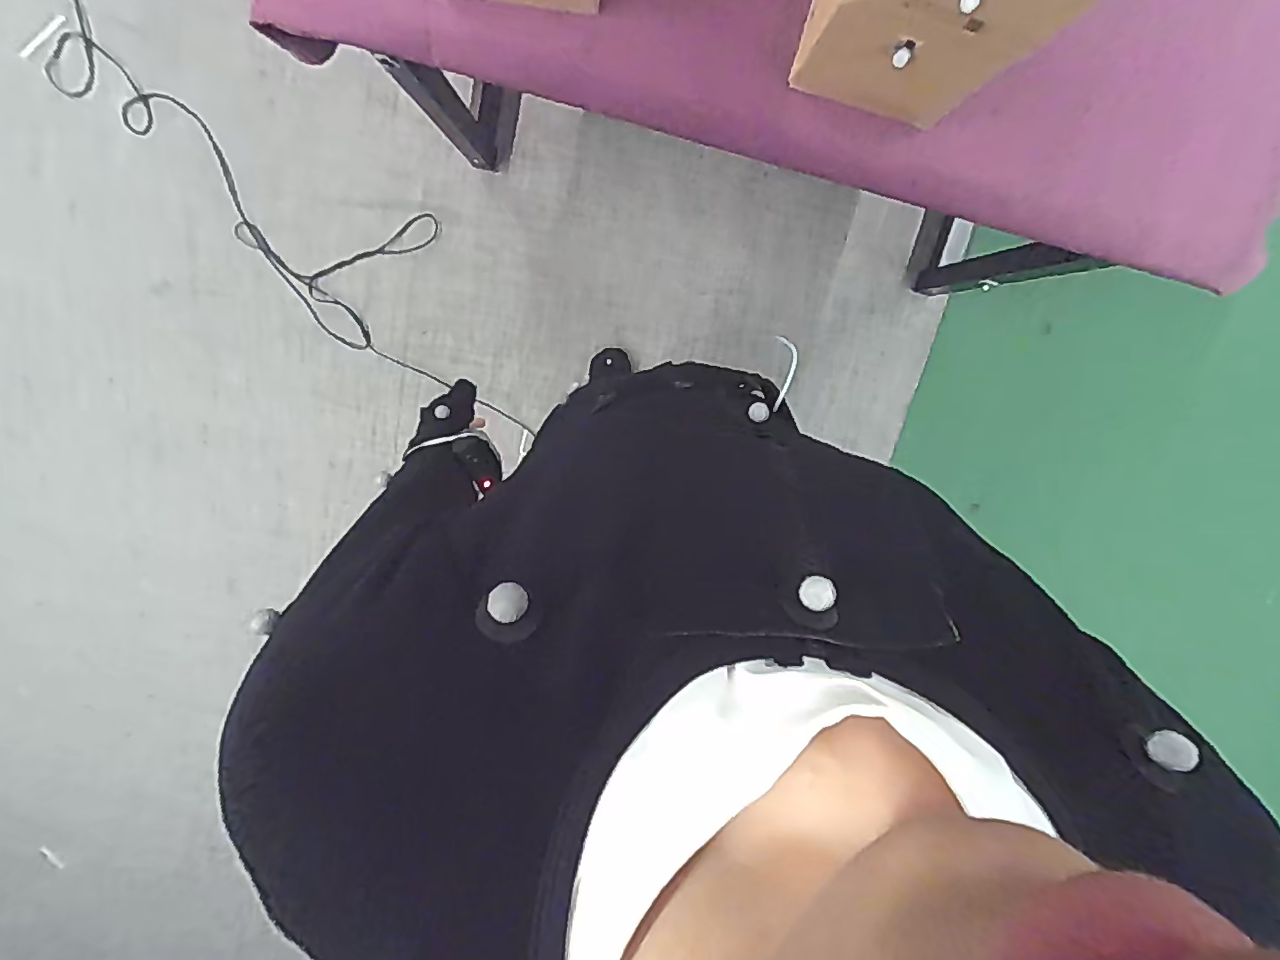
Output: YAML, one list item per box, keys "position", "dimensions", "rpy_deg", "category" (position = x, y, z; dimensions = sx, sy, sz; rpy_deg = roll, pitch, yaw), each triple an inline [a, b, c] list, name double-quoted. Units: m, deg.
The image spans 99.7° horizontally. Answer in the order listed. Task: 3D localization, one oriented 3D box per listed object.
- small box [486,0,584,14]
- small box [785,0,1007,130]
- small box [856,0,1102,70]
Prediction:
- position: [-0.124, -0.588, 0.508]
  dimensions: [0.179, 0.176, 0.168]
  rpy_deg: [7, 103, -3]
  category: "small box"
- position: [0.273, -0.490, 0.548]
  dimensions: [0.179, 0.176, 0.168]
  rpy_deg: [15, 102, -4]
  category: "small box"
- position: [0.283, -0.454, 0.388]
  dimensions: [0.168, 0.176, 0.179]
  rpy_deg: [18, 102, -5]
  category: "small box"
